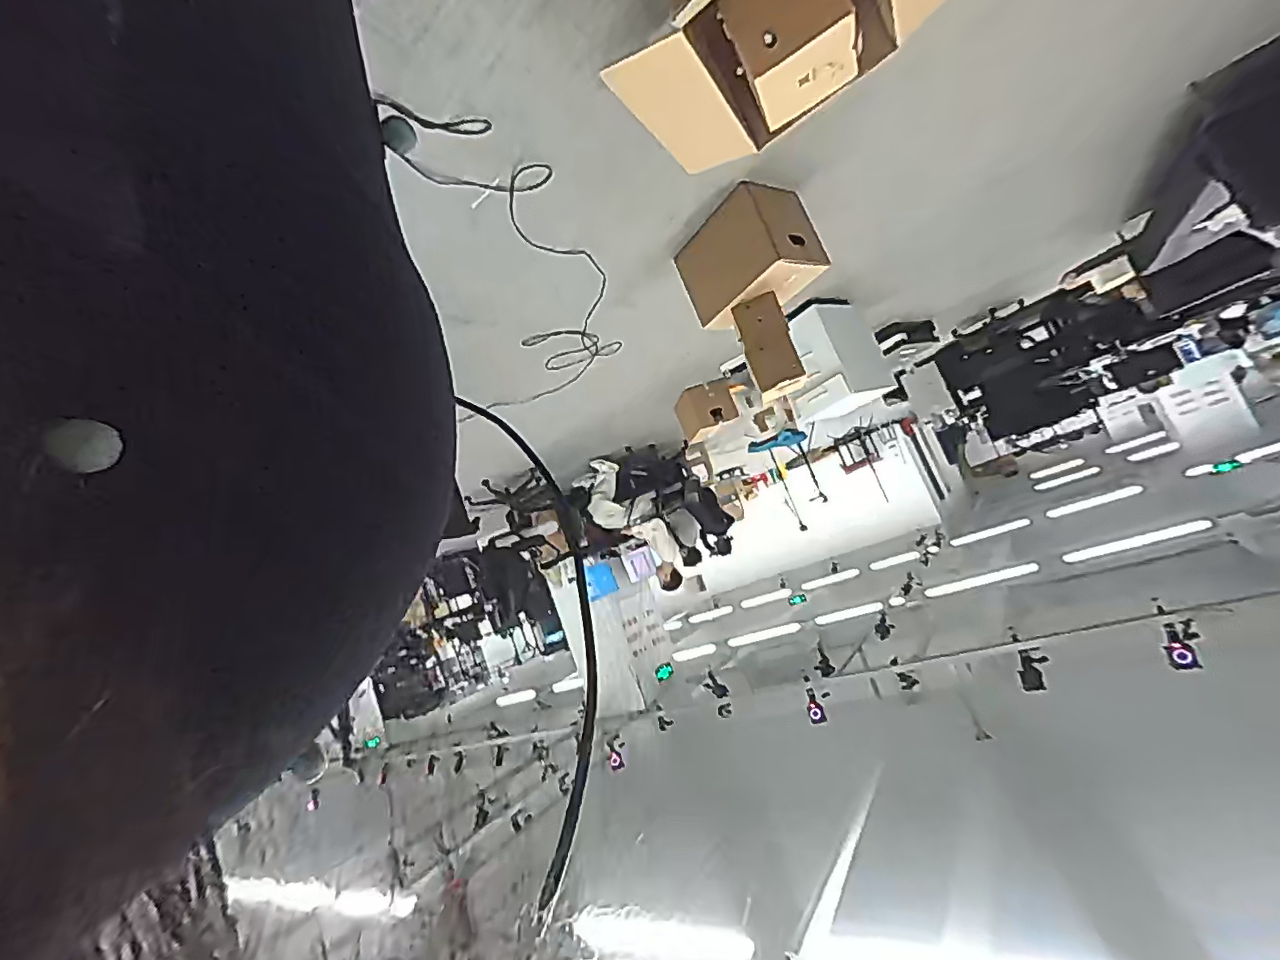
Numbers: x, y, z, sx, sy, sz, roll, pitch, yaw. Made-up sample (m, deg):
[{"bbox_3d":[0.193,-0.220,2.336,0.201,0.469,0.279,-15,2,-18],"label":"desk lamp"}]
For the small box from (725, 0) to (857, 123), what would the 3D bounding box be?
[{"bbox_3d":[0.268,-0.805,0.968,0.179,0.176,0.168,-25,174,23],"label":"small box"}]

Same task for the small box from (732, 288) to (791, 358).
[{"bbox_3d":[0.447,-0.581,1.995,0.168,0.176,0.179,-22,169,12],"label":"small box"}]
